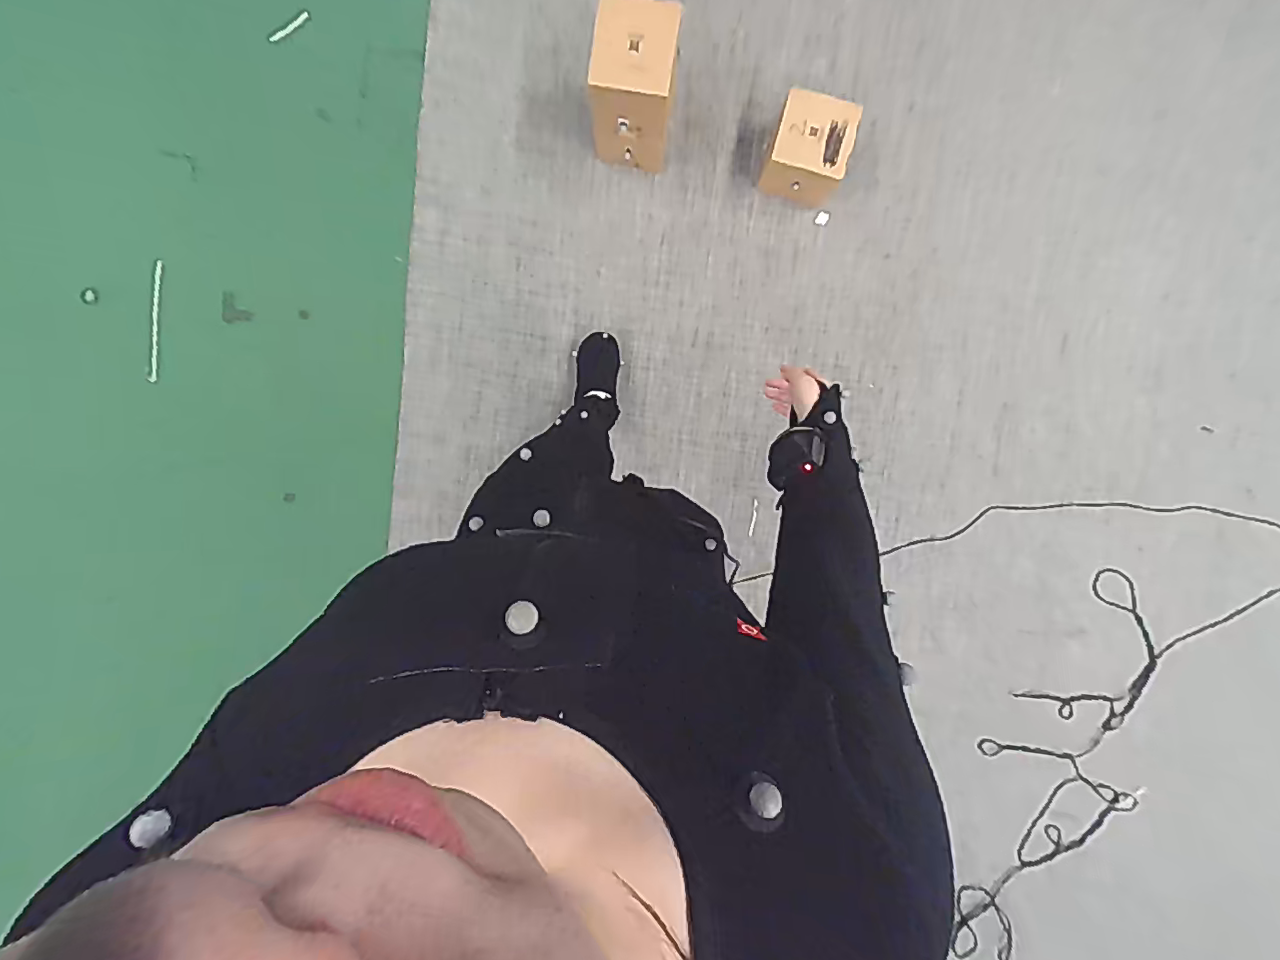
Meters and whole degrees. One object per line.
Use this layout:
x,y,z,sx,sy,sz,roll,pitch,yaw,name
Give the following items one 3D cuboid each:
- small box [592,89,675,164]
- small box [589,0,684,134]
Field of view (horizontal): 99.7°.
-0.011,-0.894,1.296,0.168,0.176,0.179,12,98,-2,small box
-0.007,-0.871,1.135,0.168,0.176,0.179,9,98,0,small box
